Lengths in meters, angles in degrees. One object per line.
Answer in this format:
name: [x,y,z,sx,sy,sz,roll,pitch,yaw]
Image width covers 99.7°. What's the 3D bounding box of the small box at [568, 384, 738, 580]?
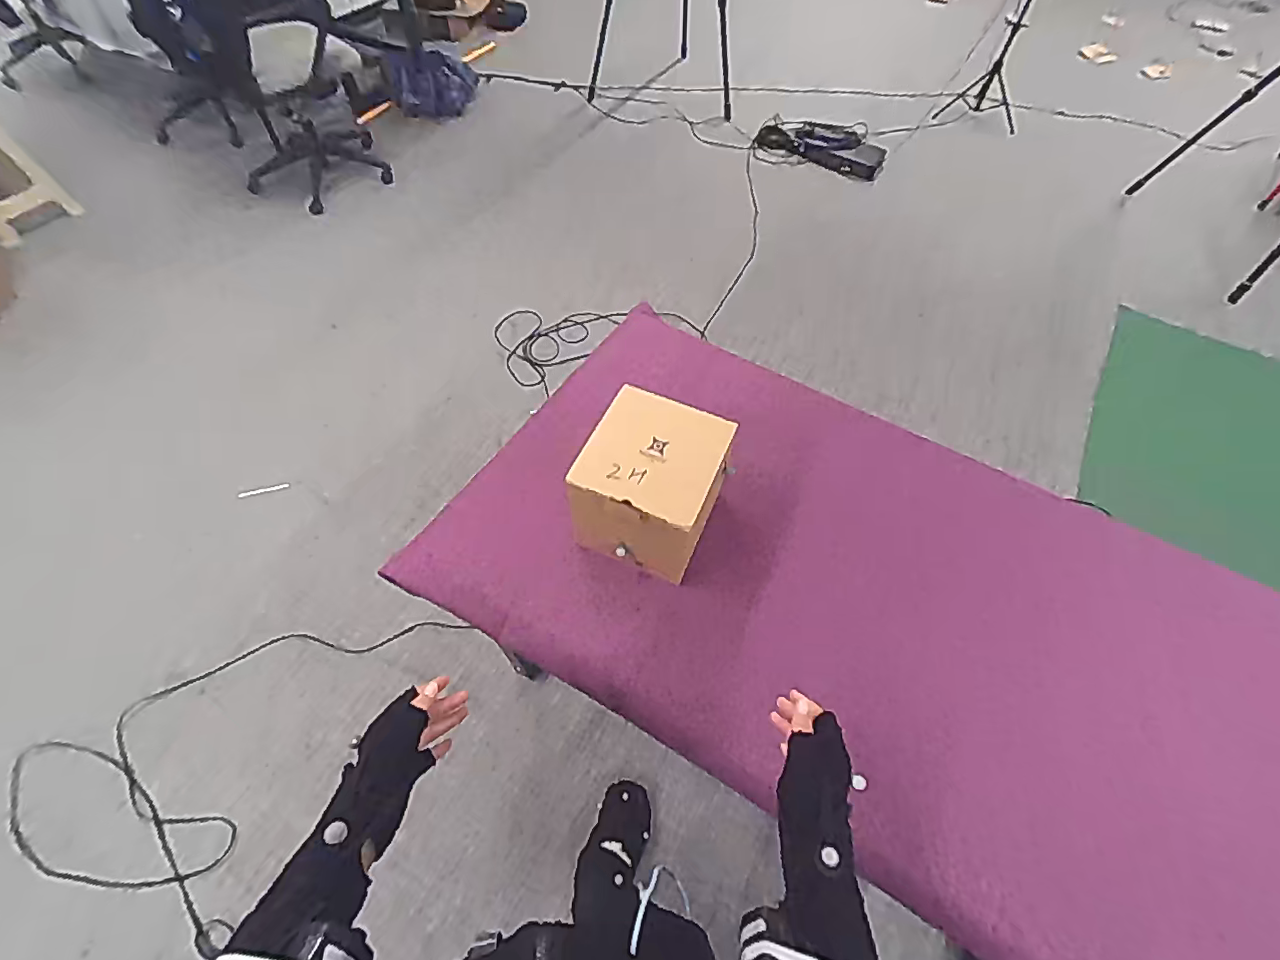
small box: [0.018,0.007,0.742,0.168,0.176,0.179,21,59,13]
